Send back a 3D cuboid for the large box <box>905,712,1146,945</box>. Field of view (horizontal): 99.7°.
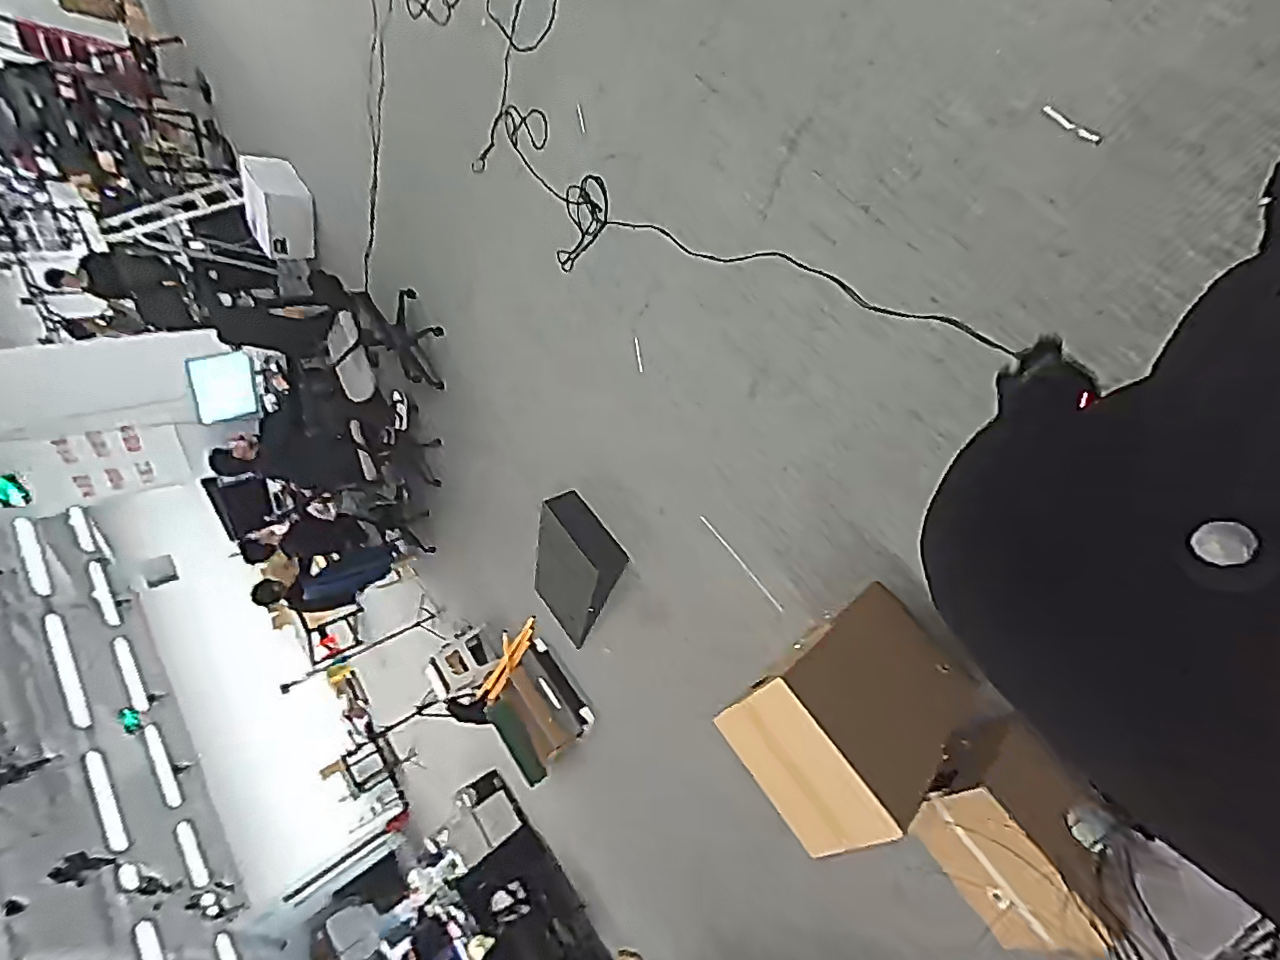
[{"bbox_3d":[1.027,0.923,1.459,0.408,0.320,0.320,51,139,18],"label":"large box"}]
